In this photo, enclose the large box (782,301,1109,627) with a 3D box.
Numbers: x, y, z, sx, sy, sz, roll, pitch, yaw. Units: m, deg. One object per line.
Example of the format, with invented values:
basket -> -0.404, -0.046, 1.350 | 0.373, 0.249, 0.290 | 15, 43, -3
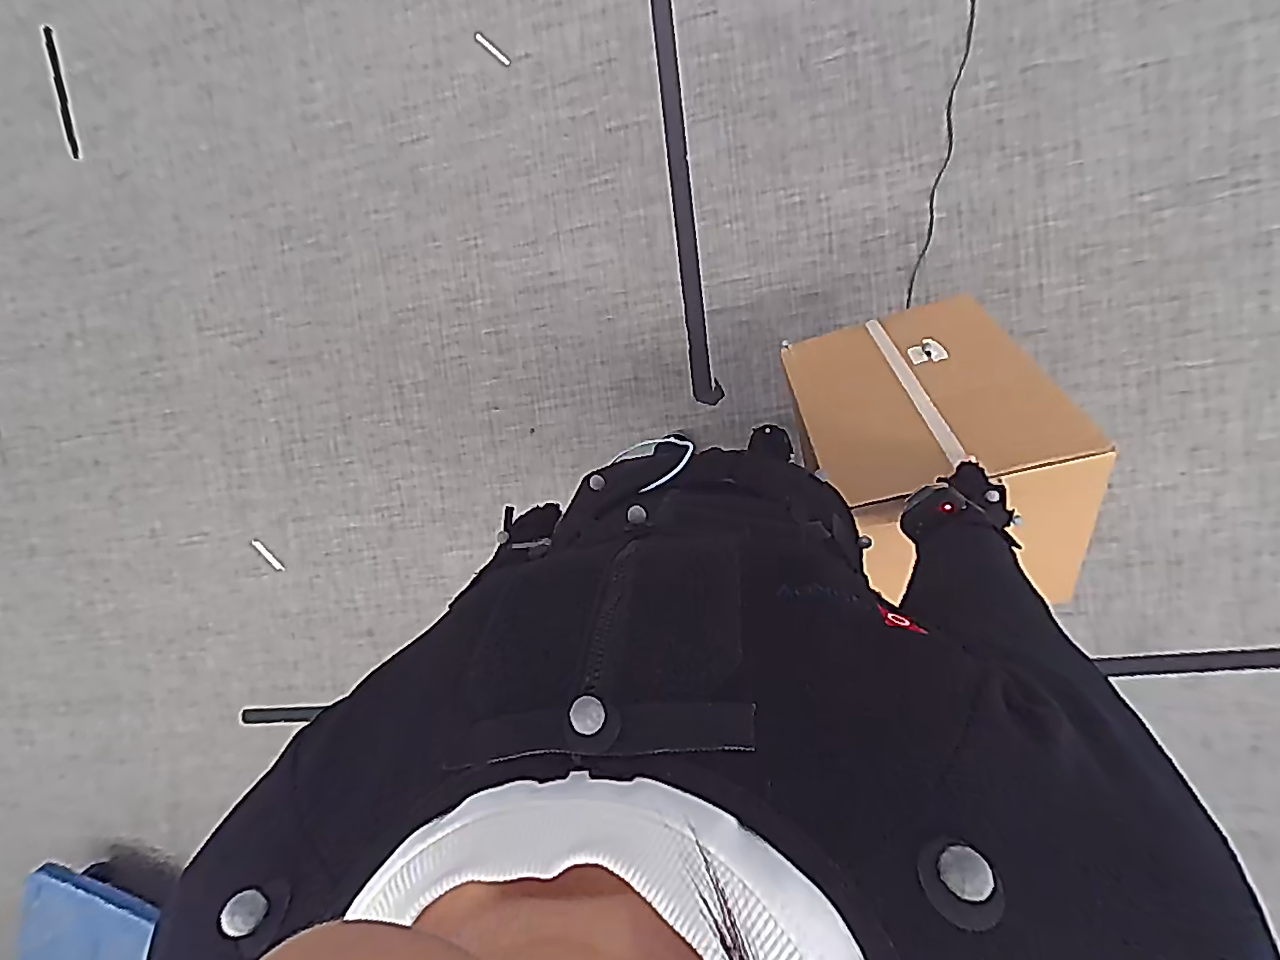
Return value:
large box -> 0.452, -0.029, 0.897 | 0.320, 0.408, 0.320 | -14, 131, 13
